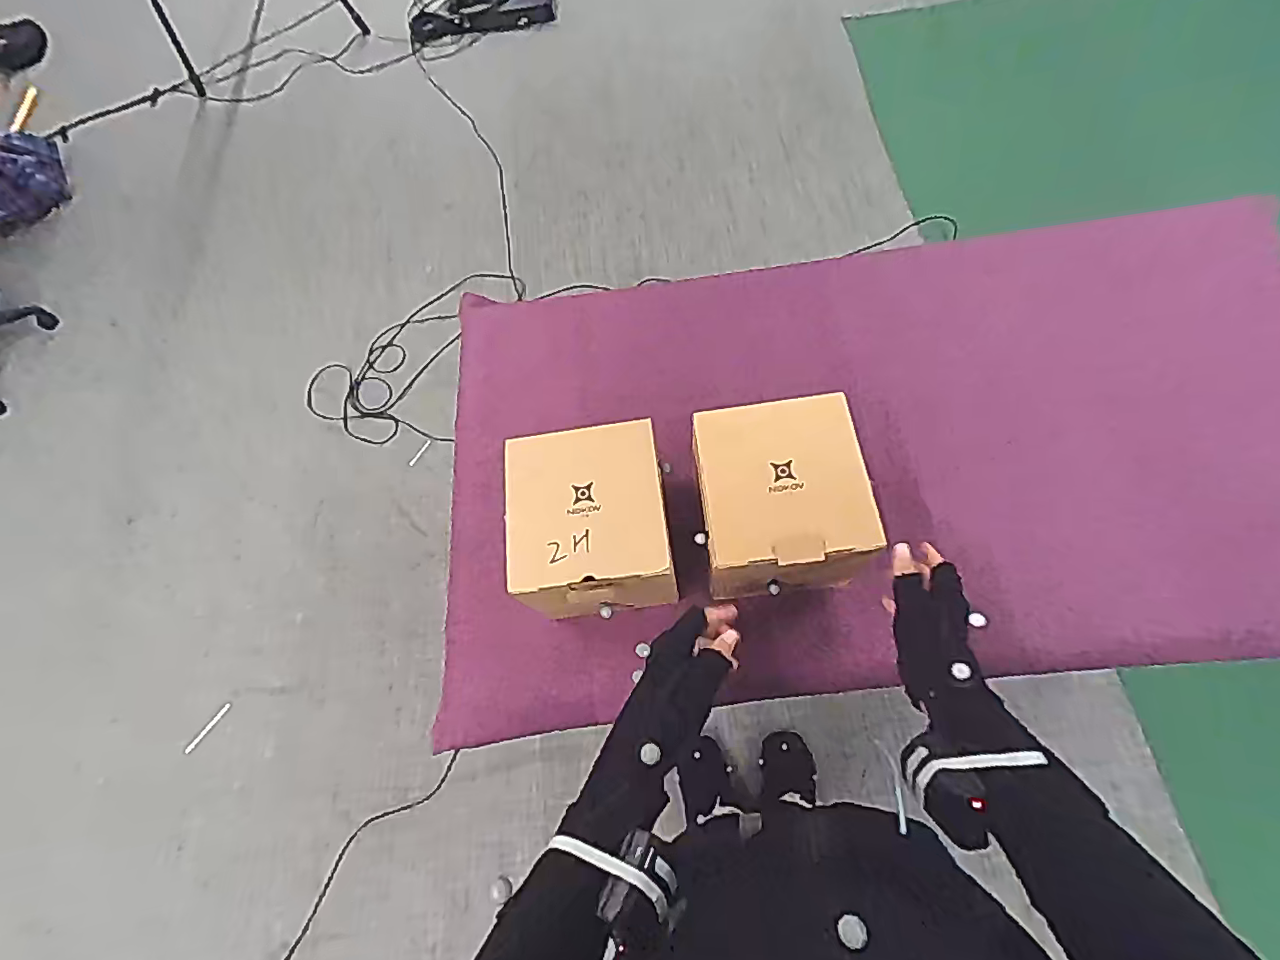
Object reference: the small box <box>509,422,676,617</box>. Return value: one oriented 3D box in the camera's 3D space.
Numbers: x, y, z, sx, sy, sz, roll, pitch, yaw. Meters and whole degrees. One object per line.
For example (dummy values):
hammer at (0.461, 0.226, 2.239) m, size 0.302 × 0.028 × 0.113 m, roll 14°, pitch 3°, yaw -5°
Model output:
small box at (-0.050, 0.055, 0.643) m, size 0.168 × 0.176 × 0.179 m, roll -8°, pitch 67°, yaw 4°
